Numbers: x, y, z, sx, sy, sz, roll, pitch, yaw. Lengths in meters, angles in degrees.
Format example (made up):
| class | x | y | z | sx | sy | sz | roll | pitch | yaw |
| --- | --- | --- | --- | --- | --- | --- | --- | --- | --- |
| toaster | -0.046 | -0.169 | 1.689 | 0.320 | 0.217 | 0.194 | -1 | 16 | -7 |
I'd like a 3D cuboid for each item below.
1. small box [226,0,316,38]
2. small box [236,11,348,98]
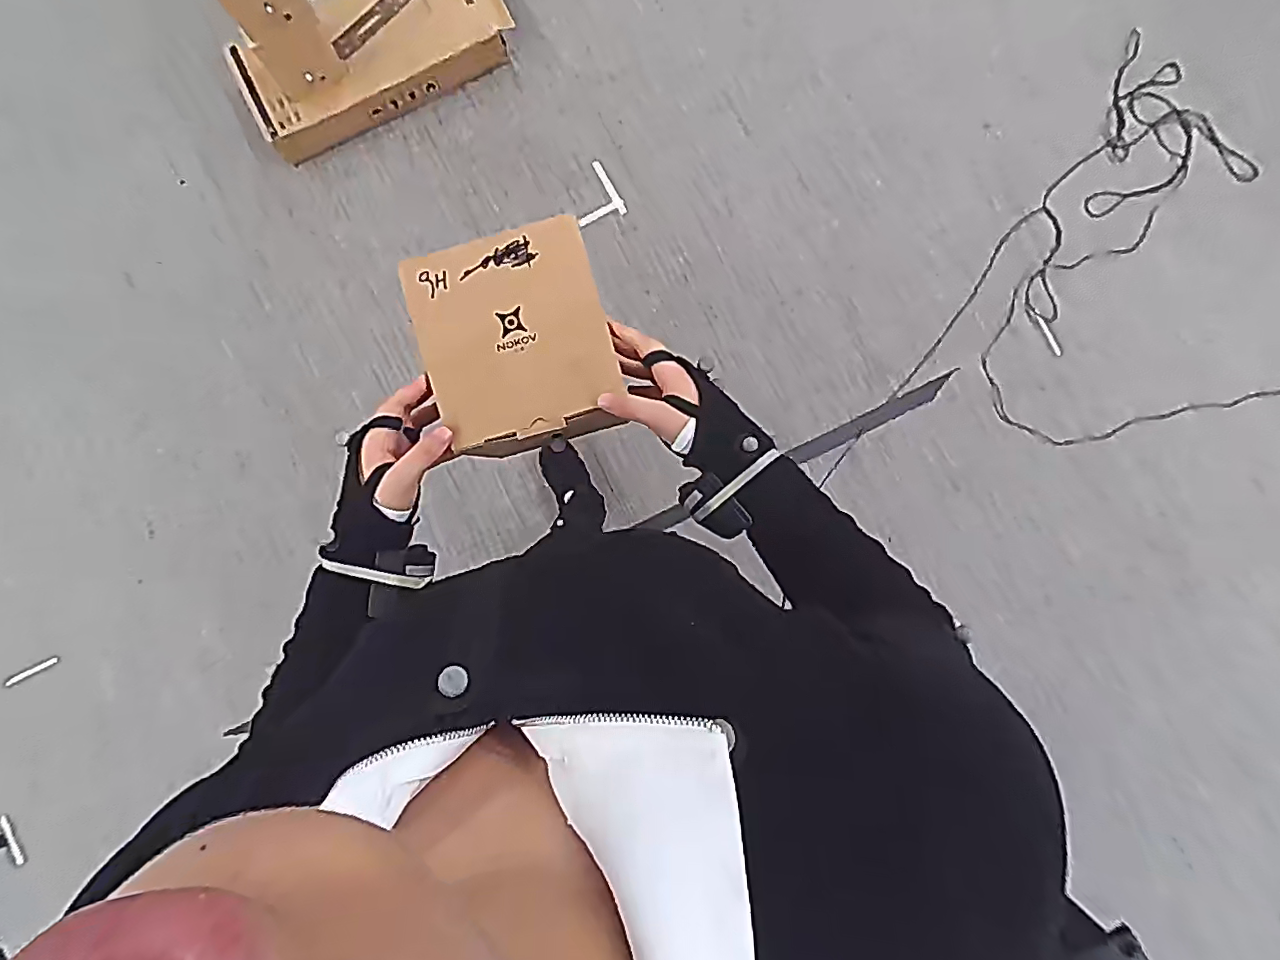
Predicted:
| class | x | y | z | sx | sy | sz | roll | pitch | yaw |
| --- | --- | --- | --- | --- | --- | --- | --- | --- | --- |
| small box | -0.876 | -1.160 | 1.211 | 0.168 | 0.176 | 0.179 | -26 | 86 | -1 |
| small box | -0.889 | -1.134 | 1.375 | 0.168 | 0.176 | 0.179 | -28 | 87 | -1 |
